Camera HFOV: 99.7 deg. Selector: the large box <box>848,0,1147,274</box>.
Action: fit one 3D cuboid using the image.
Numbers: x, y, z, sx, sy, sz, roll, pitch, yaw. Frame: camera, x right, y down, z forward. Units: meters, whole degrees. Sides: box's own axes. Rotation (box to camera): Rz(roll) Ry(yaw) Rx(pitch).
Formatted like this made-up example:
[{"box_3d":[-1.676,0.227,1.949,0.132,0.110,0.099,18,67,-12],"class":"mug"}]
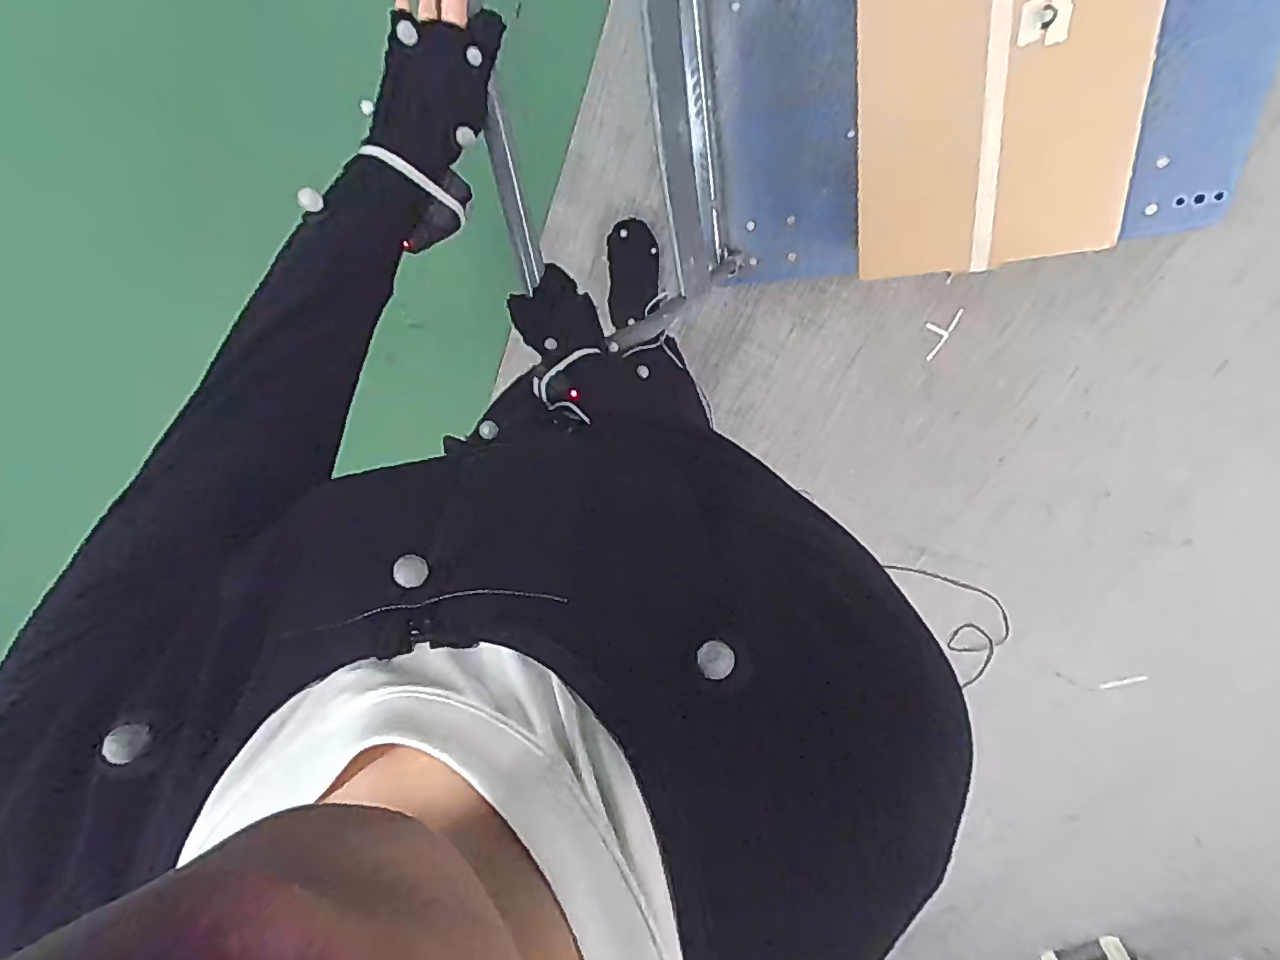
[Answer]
[{"box_3d":[0.485,-0.557,0.800,0.320,0.320,0.408,1,118,23],"class":"large box"}]
